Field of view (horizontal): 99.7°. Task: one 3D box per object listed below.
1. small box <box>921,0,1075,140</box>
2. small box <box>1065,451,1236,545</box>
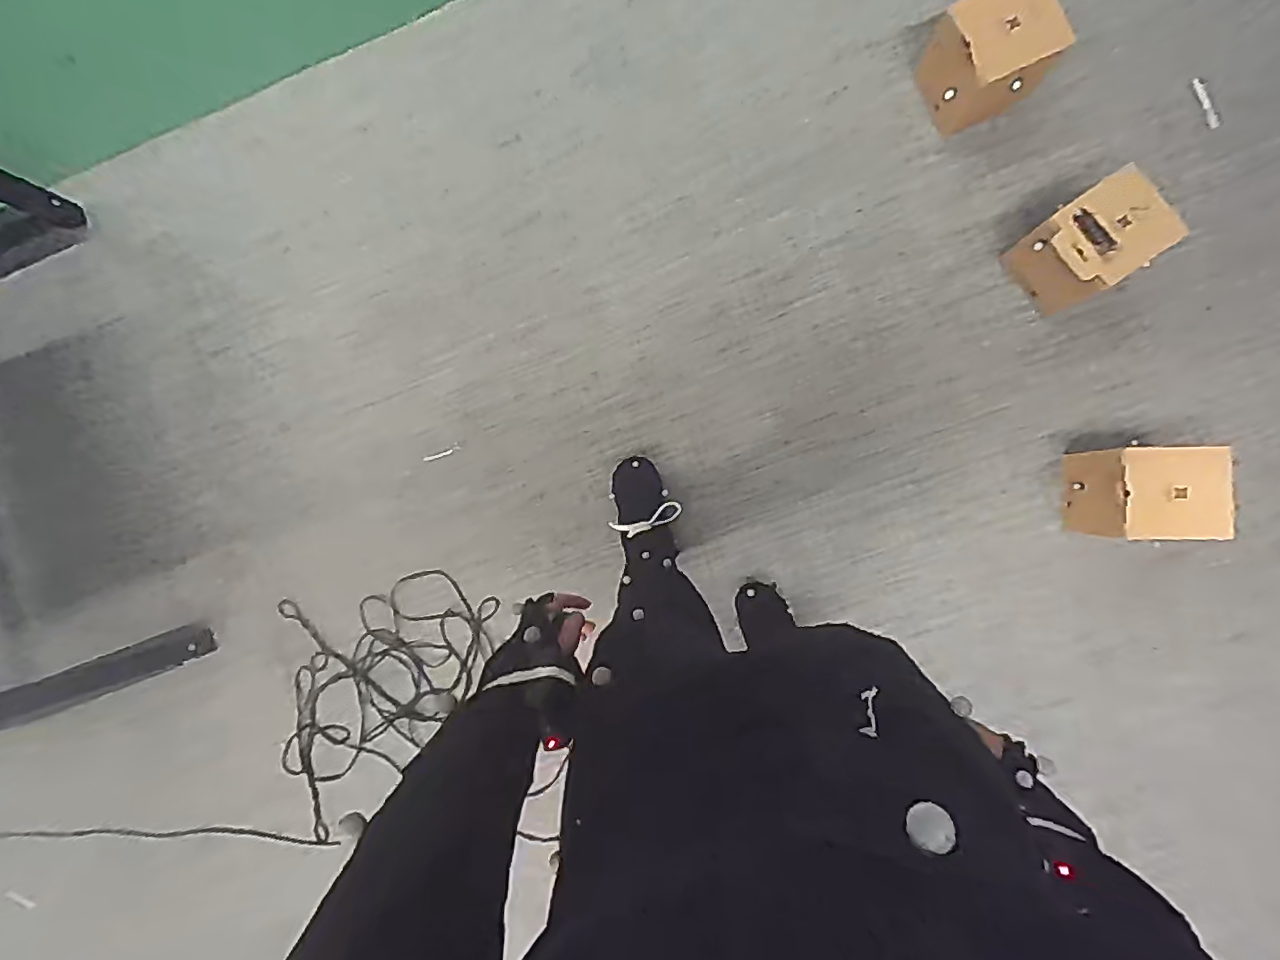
[{"bbox_3d":[0.691,-0.825,1.073,0.179,0.176,0.168,-23,87,4],"label":"small box"},{"bbox_3d":[0.953,0.031,1.023,0.179,0.176,0.168,-1,89,6],"label":"small box"}]
